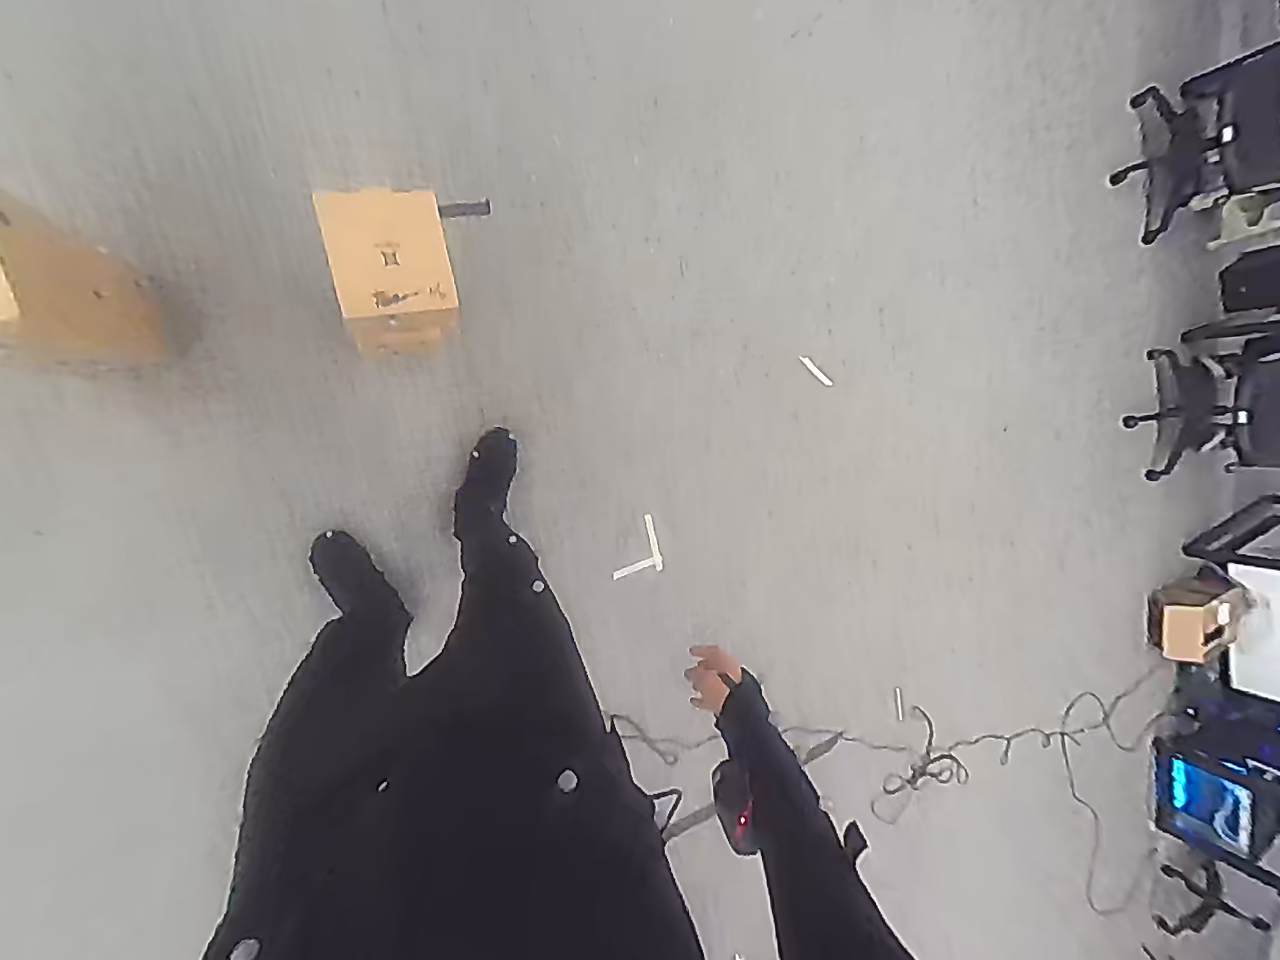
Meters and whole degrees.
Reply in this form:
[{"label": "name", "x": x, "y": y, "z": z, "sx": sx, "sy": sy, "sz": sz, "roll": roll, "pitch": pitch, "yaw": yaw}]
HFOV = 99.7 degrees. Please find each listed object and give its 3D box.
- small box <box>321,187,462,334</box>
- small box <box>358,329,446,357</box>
[{"label": "small box", "x": -0.398, "y": -0.346, "z": 0.872, "sx": 0.168, "sy": 0.176, "sz": 0.179, "roll": -13, "pitch": 99, "yaw": -23}, {"label": "small box", "x": -0.529, "y": -0.371, "z": 1.172, "sx": 0.168, "sy": 0.176, "sz": 0.179, "roll": -13, "pitch": 100, "yaw": -24}]
